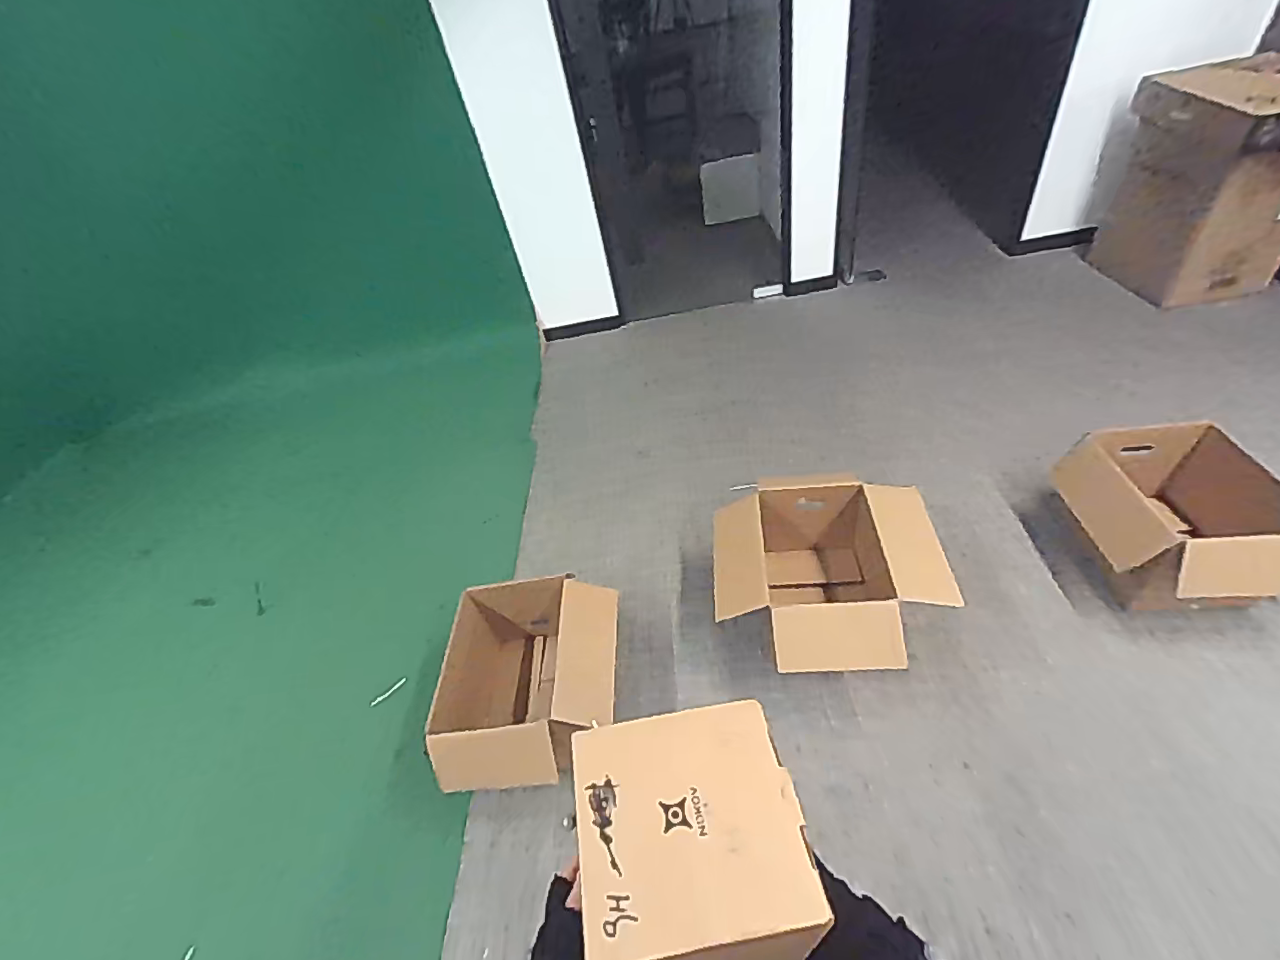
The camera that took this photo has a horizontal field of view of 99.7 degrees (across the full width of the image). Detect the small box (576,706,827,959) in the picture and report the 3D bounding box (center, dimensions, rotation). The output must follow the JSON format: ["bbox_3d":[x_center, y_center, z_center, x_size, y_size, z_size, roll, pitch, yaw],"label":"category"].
[{"bbox_3d":[0.040,0.331,0.484,0.179,0.176,0.168,-7,39,-5],"label":"small box"}]
